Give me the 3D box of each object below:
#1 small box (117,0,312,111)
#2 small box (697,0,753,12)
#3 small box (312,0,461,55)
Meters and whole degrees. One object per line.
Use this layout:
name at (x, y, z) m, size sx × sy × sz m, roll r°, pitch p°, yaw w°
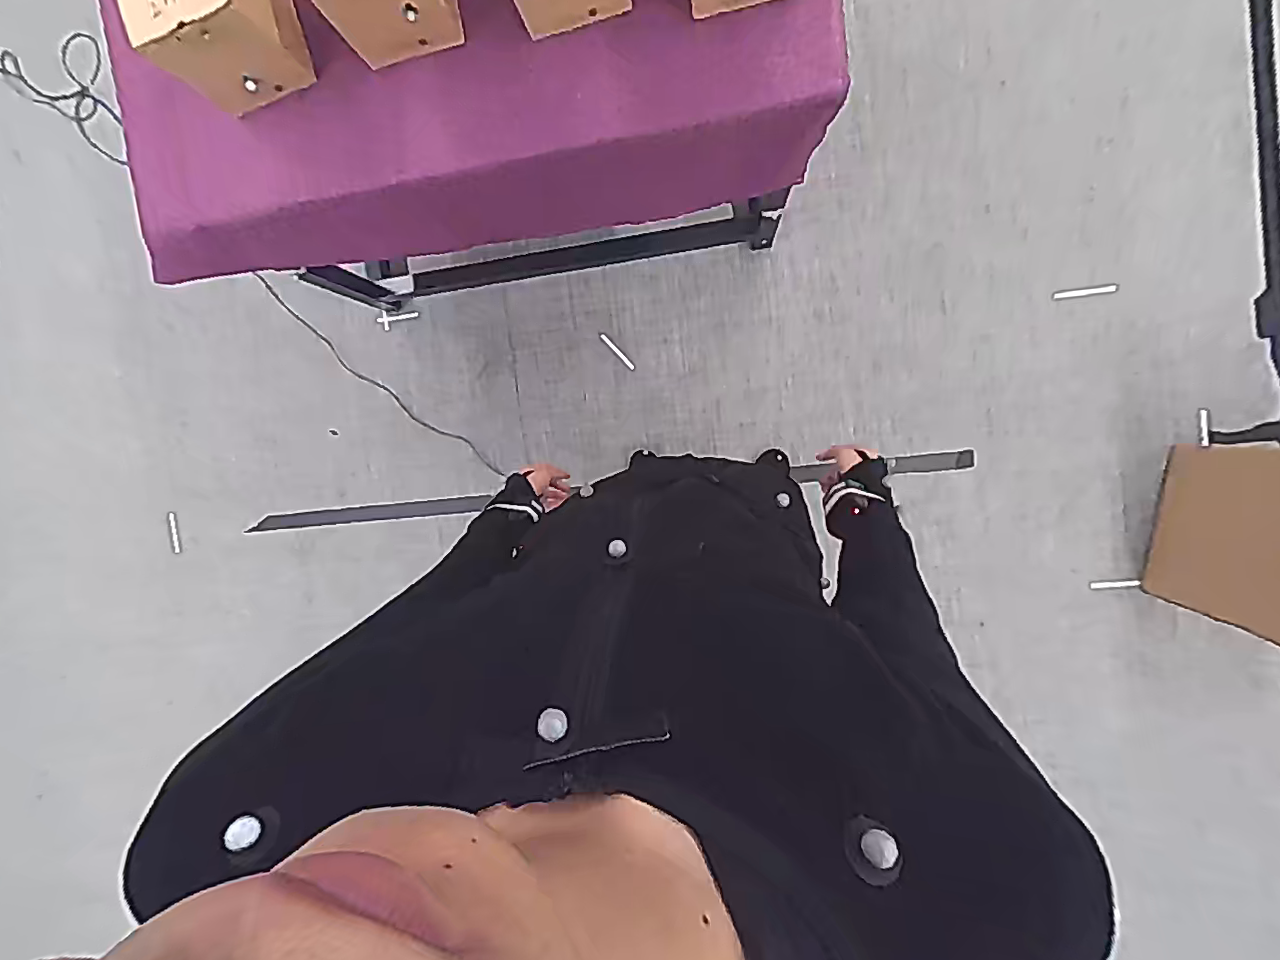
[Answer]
small box at (-0.643, -0.714, 0.817) m, size 0.168 × 0.176 × 0.179 m, roll -16°, pitch 93°, yaw 9°
small box at (0.140, -0.785, 0.712) m, size 0.168 × 0.176 × 0.179 m, roll -8°, pitch 95°, yaw 8°
small box at (-0.380, -0.763, 0.782) m, size 0.168 × 0.176 × 0.179 m, roll -9°, pitch 94°, yaw 7°
